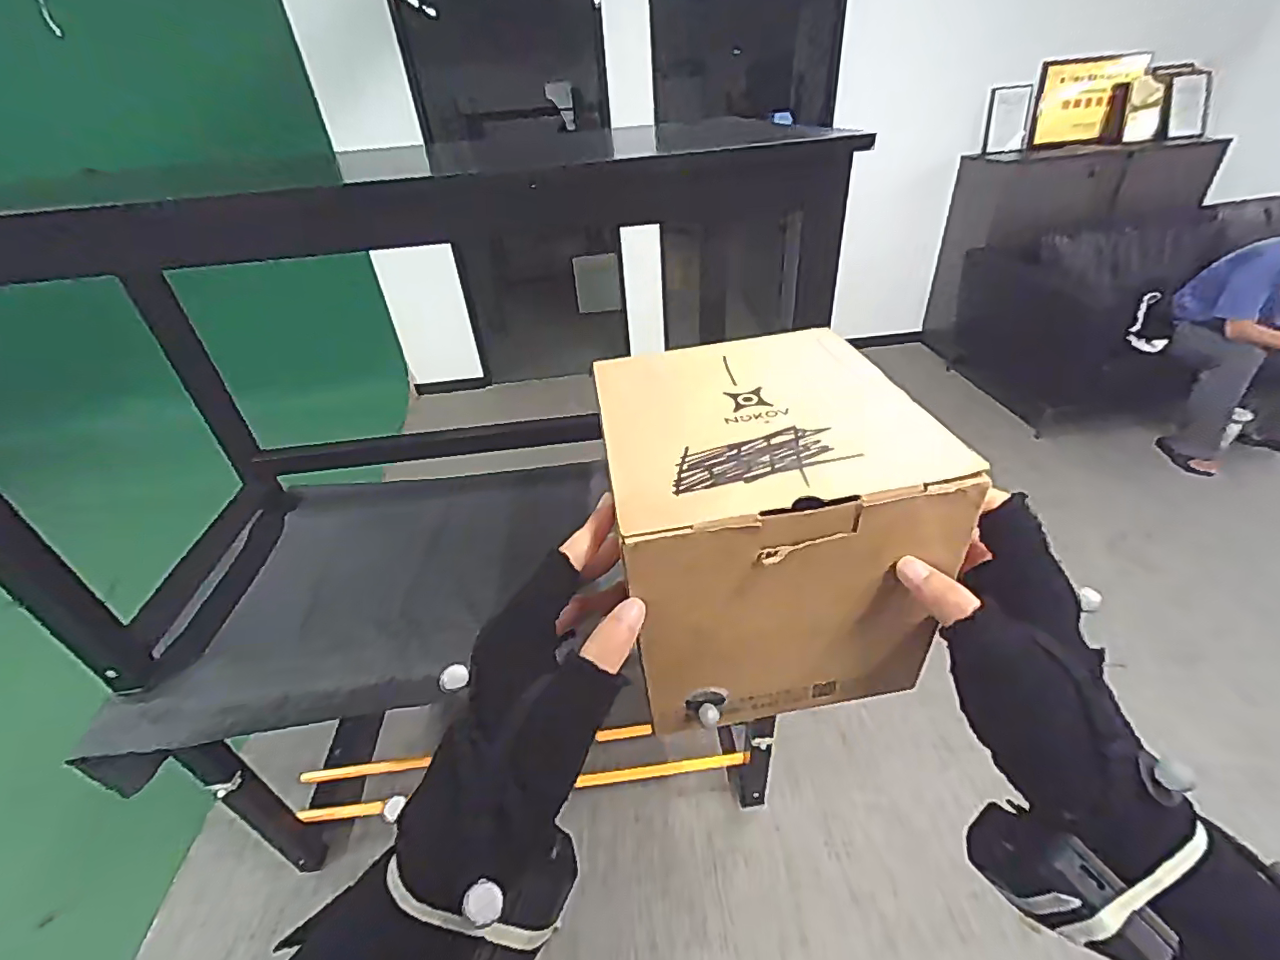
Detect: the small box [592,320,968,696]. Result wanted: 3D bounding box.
[{"bbox_3d":[0.066,0.018,0.350,0.168,0.176,0.179,-9,37,-3],"label":"small box"}]
